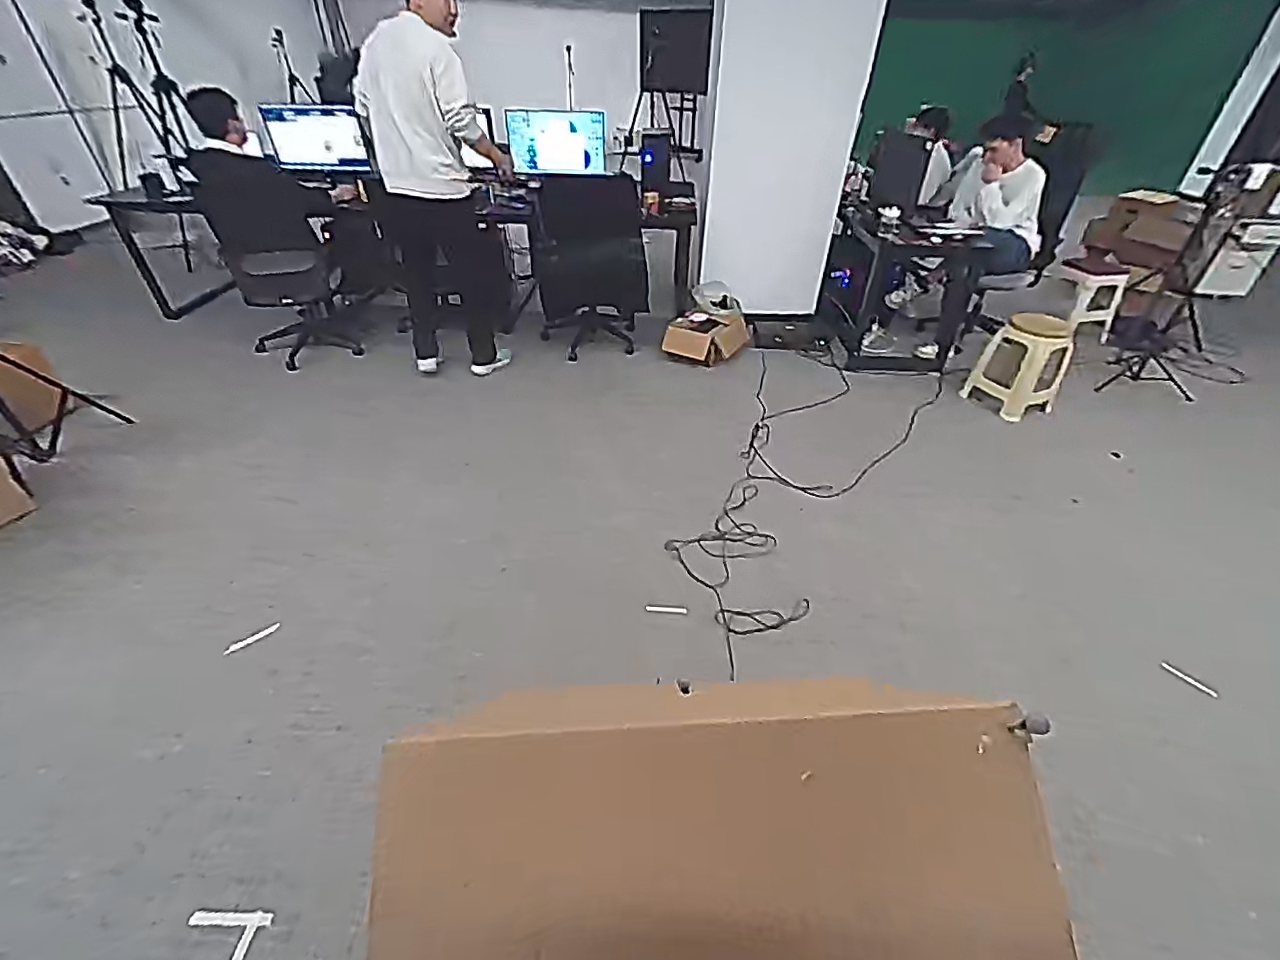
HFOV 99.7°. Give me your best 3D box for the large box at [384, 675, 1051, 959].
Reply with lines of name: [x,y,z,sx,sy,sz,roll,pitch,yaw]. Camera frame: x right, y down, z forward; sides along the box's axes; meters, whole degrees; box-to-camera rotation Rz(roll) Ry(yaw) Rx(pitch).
large box: [0.047,0.351,0.458,0.408,0.320,0.320,-5,75,0]
